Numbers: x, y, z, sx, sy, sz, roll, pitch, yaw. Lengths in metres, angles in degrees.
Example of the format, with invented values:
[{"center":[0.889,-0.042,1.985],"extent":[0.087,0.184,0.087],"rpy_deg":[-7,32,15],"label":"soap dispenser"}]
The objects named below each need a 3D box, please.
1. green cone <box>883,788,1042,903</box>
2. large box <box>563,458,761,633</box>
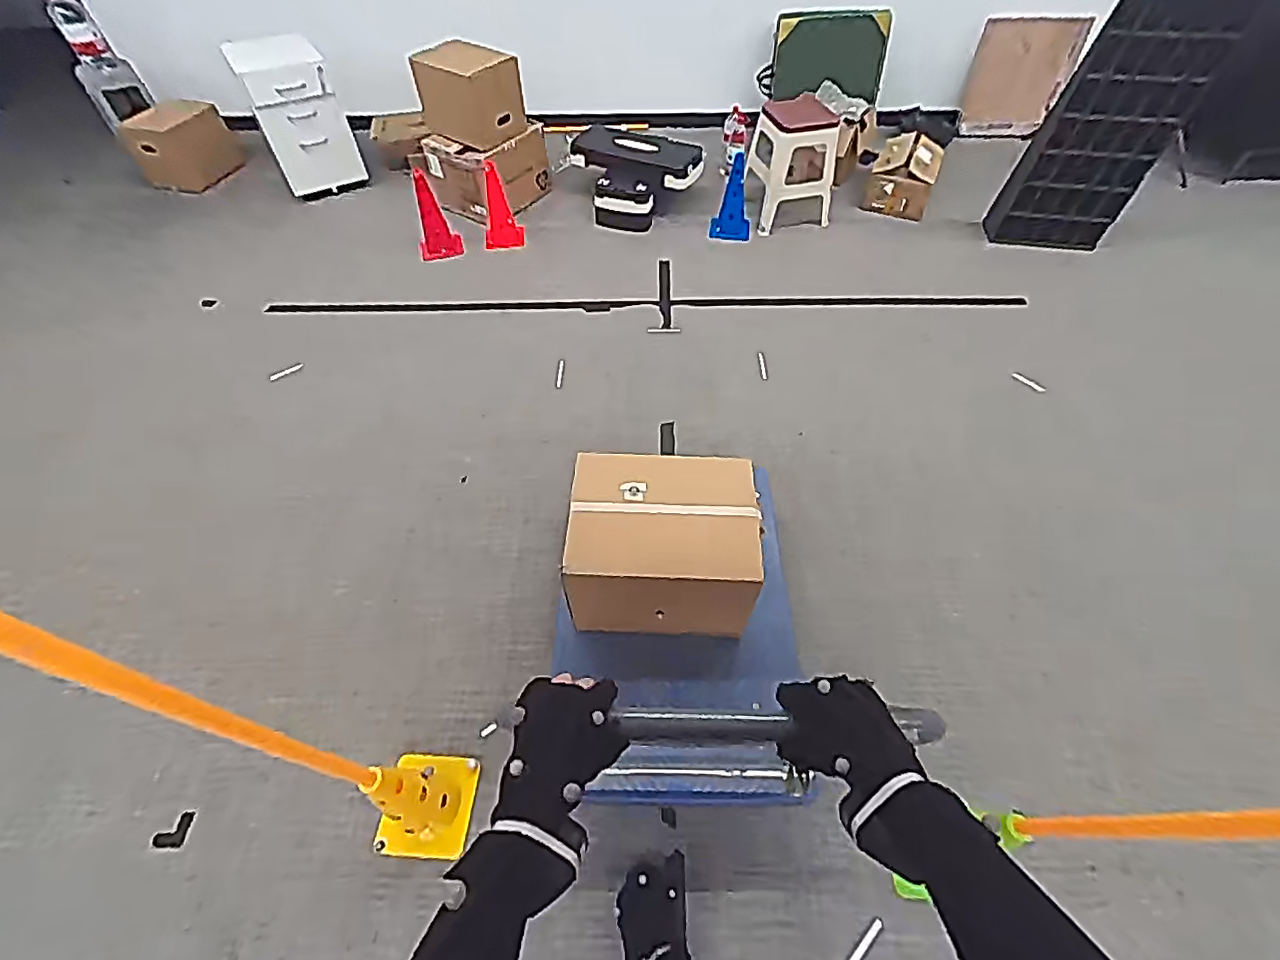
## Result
[{"center":[0.651,0.696,1.053],"extent":[0.202,0.368,0.200],"rpy_deg":[4,53,2],"label":"green cone"},{"center":[0.052,0.161,1.283],"extent":[0.408,0.320,0.320],"rpy_deg":[2,53,2],"label":"large box"}]
